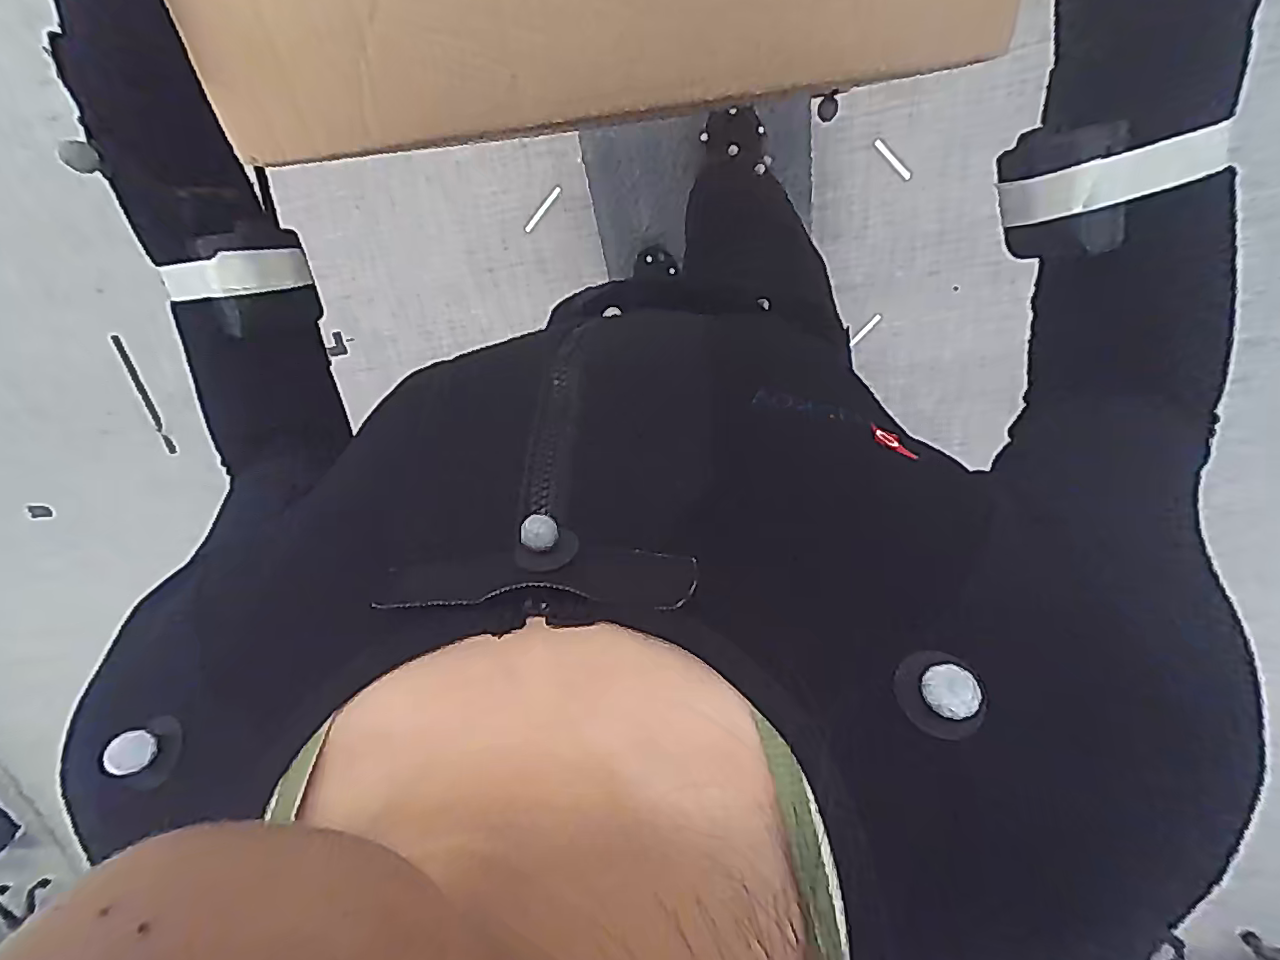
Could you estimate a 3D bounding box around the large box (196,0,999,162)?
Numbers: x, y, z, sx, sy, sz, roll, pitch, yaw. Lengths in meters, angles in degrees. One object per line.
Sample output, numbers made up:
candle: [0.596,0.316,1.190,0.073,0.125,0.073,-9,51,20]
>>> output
large box: [-0.031,-0.409,0.332,0.408,0.320,0.320,-4,123,5]
